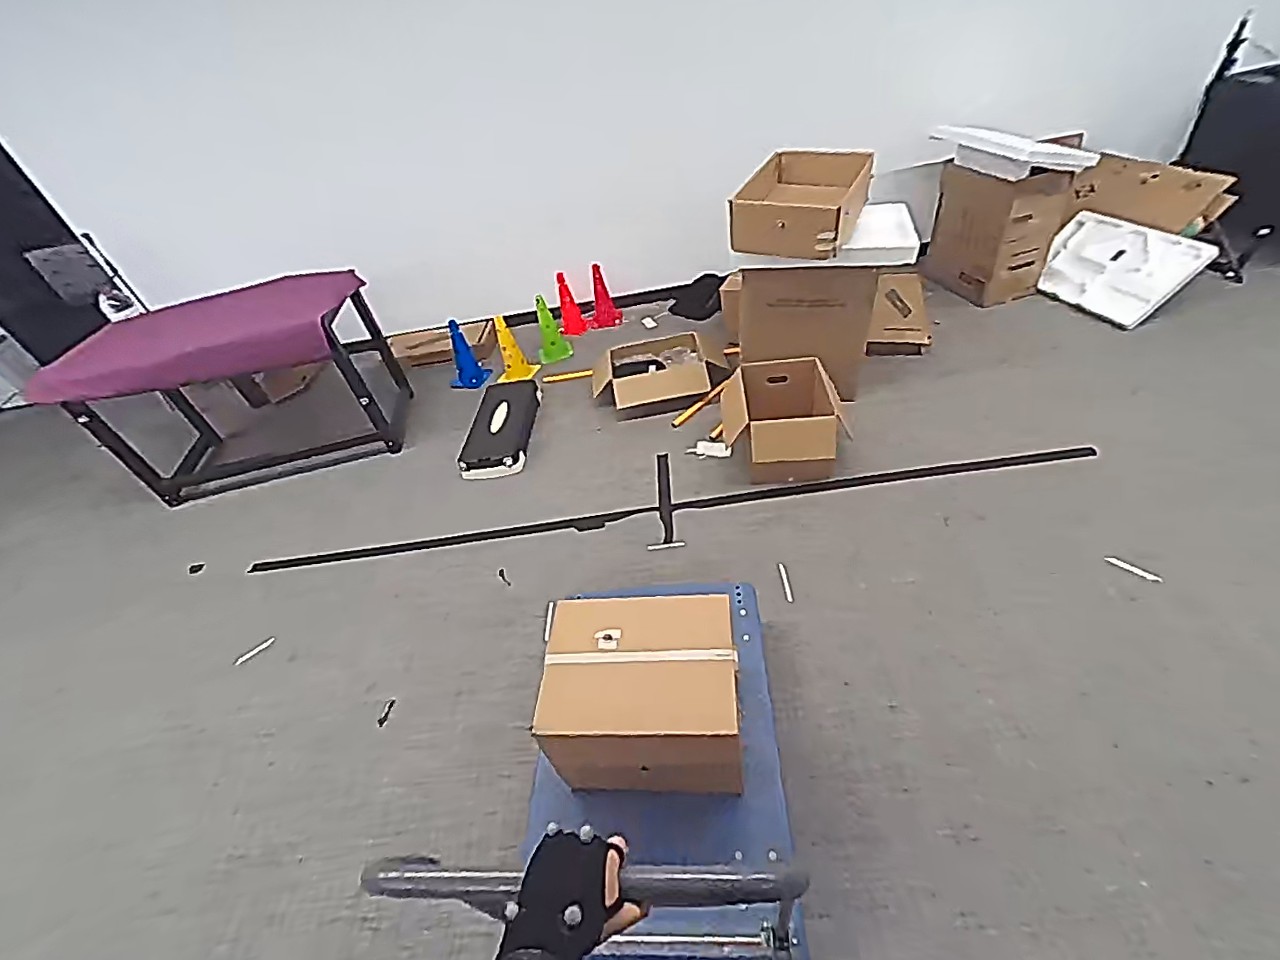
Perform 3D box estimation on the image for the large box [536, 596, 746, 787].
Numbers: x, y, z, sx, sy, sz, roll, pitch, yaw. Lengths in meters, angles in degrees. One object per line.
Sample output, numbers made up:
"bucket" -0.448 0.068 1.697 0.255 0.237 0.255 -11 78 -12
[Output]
"large box" 0.023 0.494 1.249 0.408 0.320 0.320 -5 41 10
